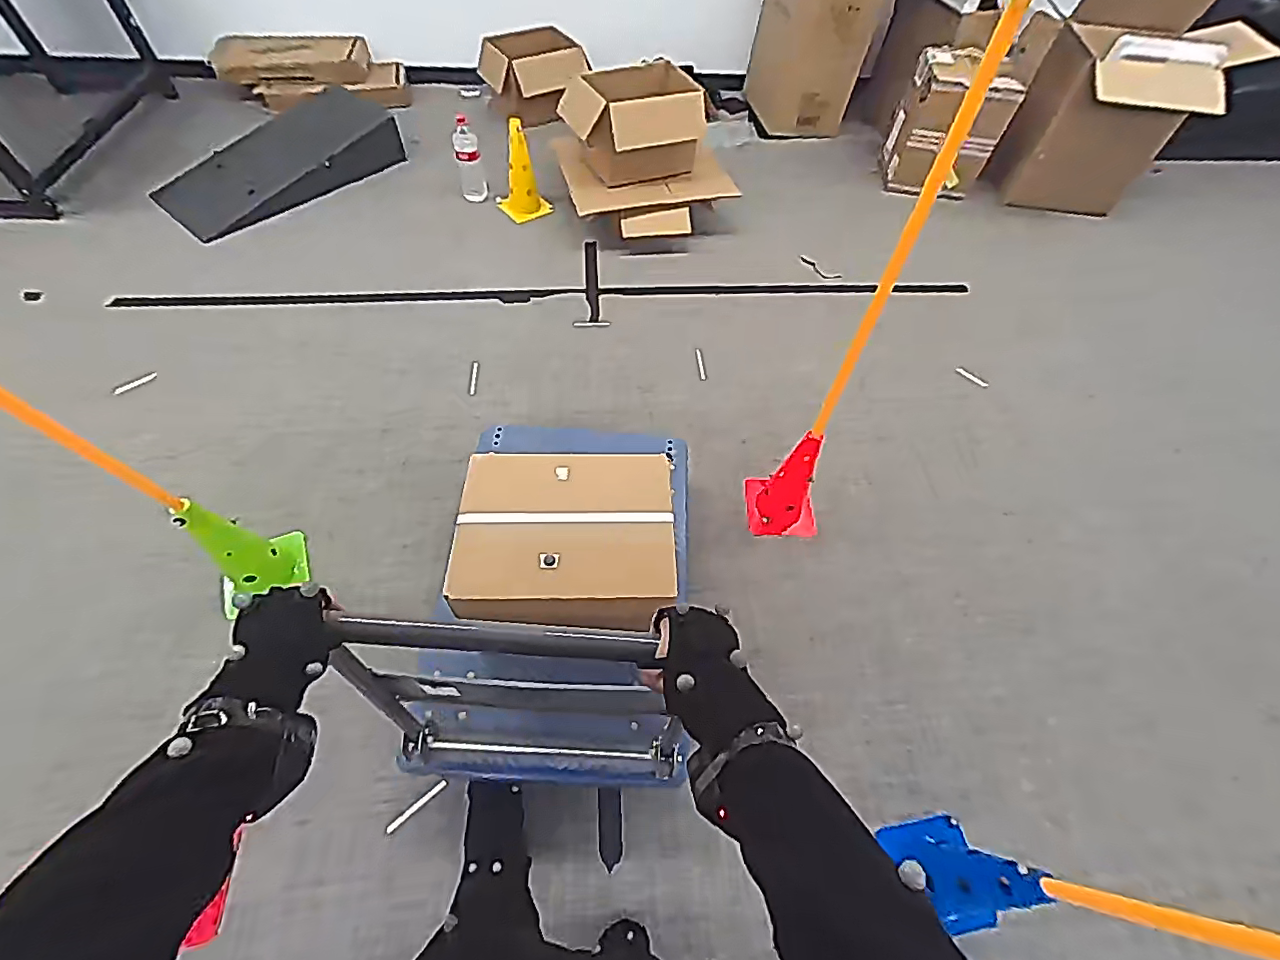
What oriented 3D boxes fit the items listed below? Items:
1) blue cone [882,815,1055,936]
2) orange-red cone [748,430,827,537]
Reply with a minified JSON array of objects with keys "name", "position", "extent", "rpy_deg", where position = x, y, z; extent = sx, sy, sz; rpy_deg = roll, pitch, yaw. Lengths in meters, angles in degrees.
[{"name":"blue cone","position":[0.637,0.738,1.008],"extent":[0.193,0.380,0.192],"rpy_deg":[-5,56,-8]},{"name":"orange-red cone","position":[0.436,-0.014,1.482],"extent":[0.199,0.360,0.198],"rpy_deg":[4,57,-2]}]
